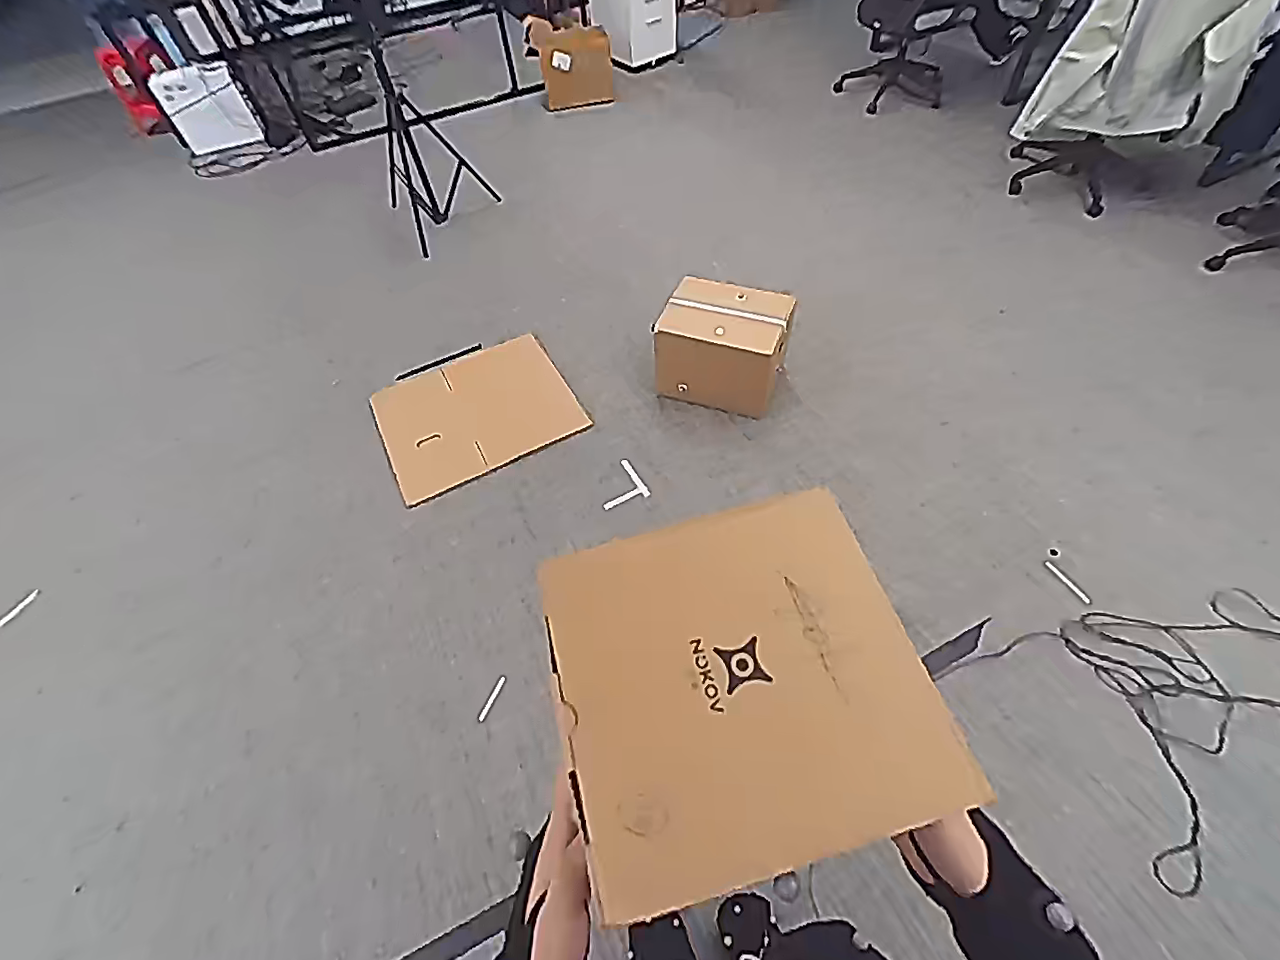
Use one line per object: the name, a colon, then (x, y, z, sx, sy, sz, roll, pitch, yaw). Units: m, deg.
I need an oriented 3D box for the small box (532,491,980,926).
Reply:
small box: (0.049, 0.135, 0.332, 0.179, 0.176, 0.168, -15, 59, -6)
